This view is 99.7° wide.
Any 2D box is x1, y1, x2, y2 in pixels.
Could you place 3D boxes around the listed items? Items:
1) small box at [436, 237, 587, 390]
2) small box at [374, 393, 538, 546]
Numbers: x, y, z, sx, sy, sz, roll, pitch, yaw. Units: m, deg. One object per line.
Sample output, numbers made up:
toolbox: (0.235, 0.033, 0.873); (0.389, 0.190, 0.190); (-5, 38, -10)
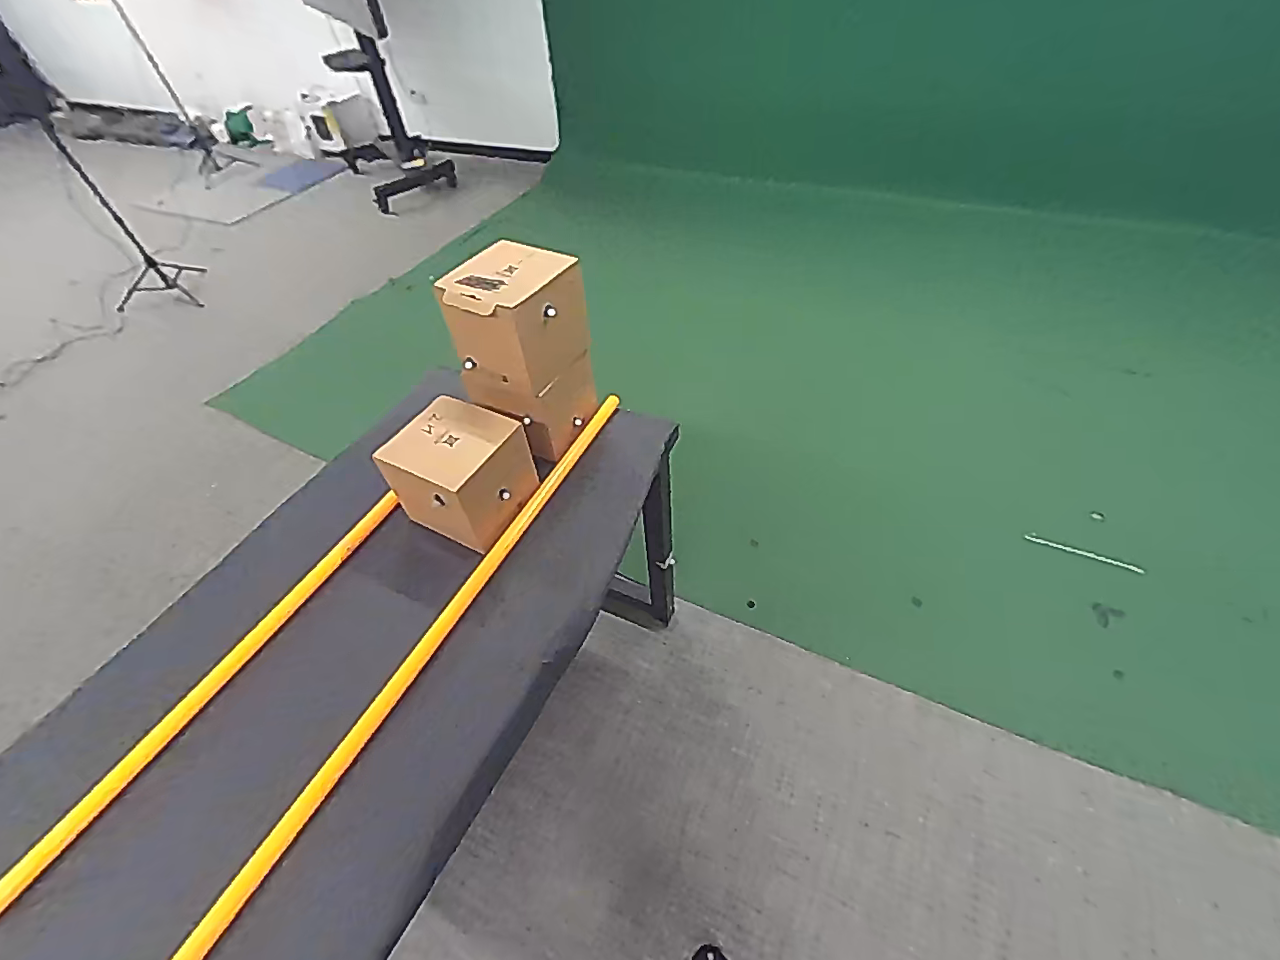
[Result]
small box: (-0.204, -0.280, 0.918); (0.168, 0.176, 0.179); (23, 54, 21)
small box: (-0.295, -0.014, 0.911); (0.179, 0.176, 0.168); (20, 53, 20)
